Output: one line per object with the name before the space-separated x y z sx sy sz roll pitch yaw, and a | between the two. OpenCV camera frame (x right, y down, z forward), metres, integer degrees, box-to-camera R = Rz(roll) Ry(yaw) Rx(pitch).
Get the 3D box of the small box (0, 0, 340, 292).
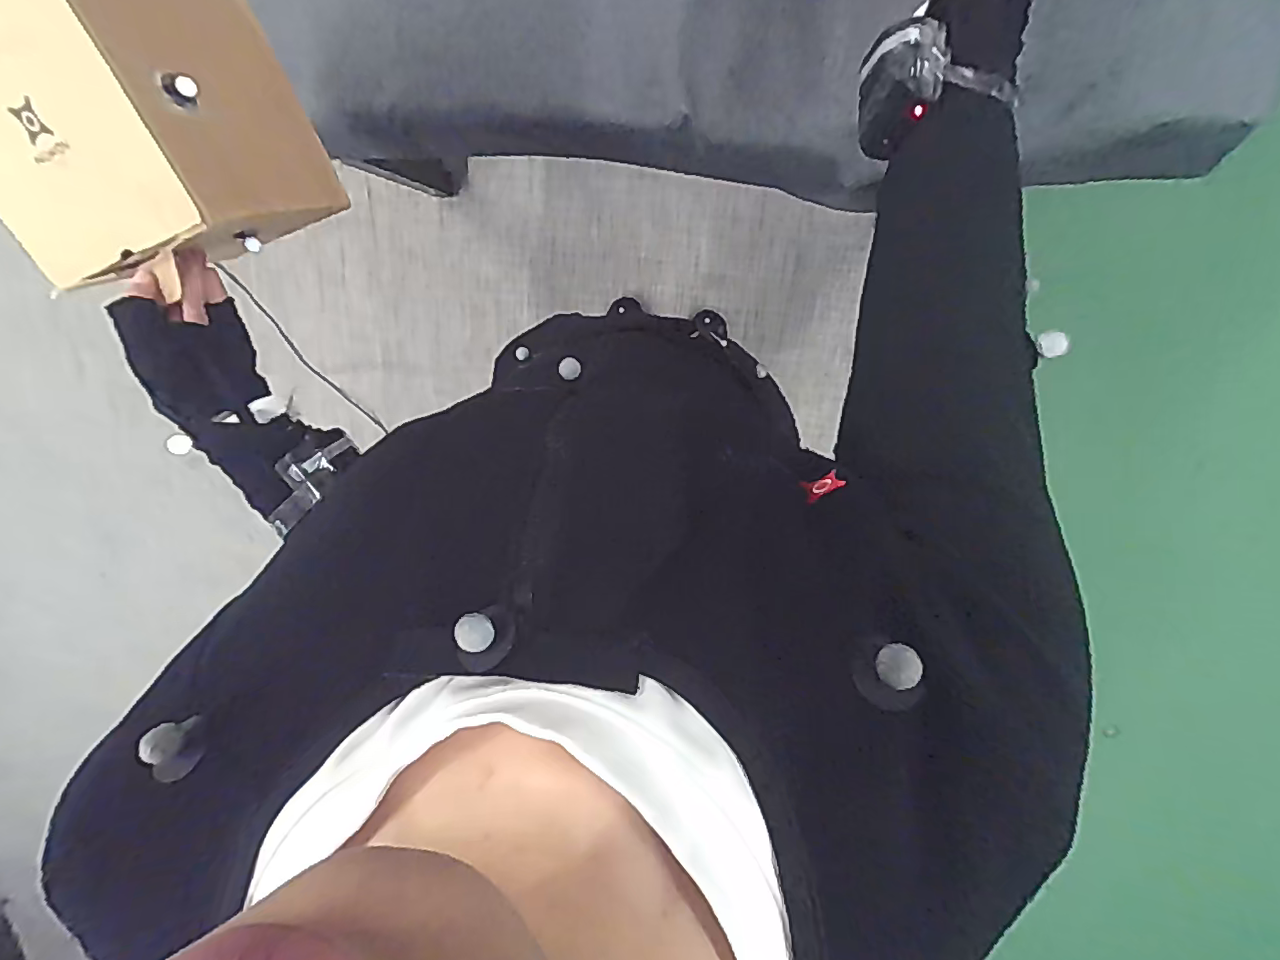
small box | -0.383 -0.271 0.420 0.168 0.176 0.179 -12 117 17
